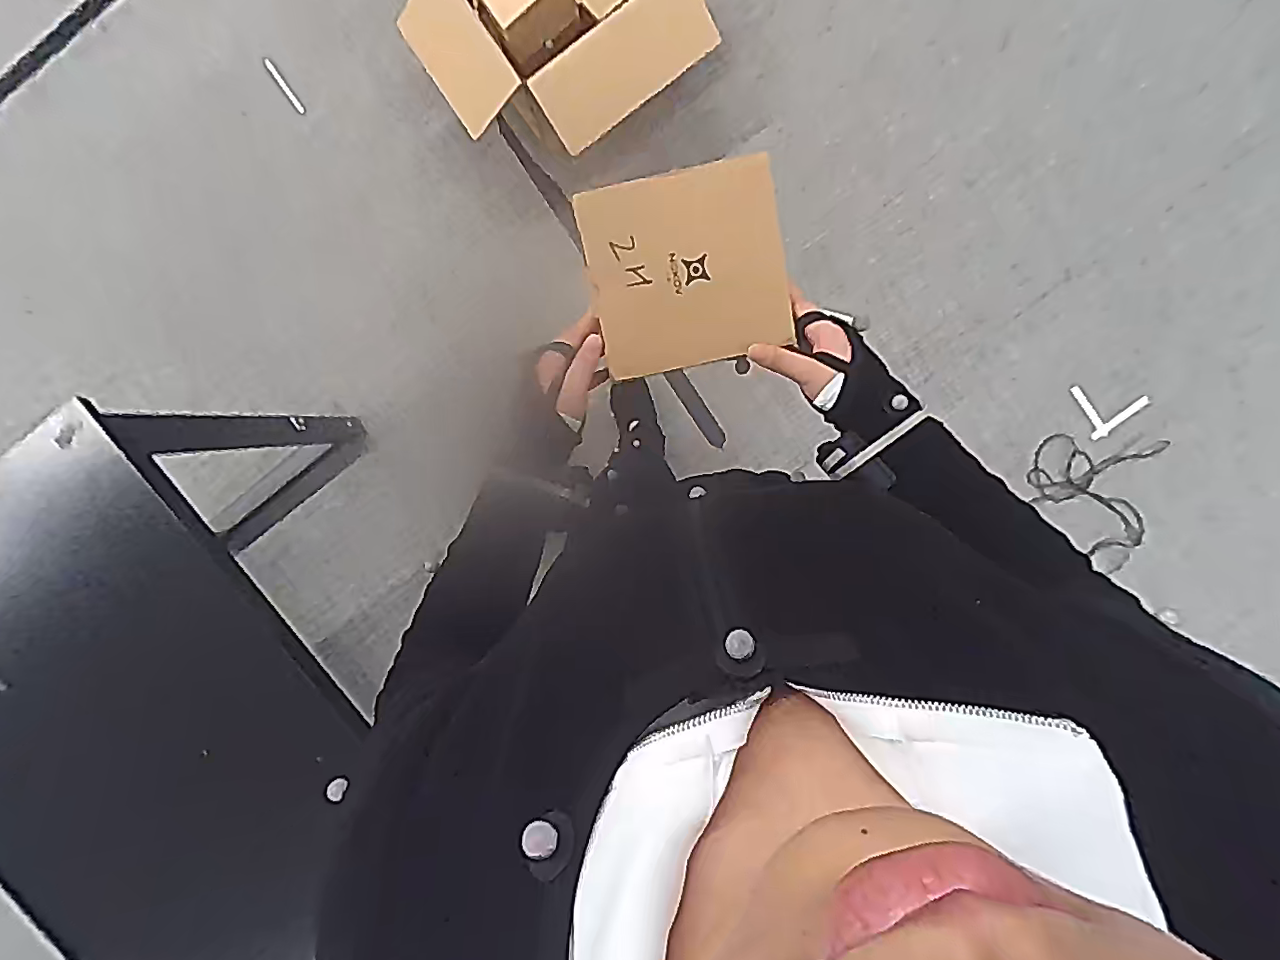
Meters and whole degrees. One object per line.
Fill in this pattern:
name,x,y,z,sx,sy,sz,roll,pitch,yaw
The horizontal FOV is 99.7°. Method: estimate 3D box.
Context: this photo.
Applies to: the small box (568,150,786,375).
small box,0.035,-0.208,0.562,0.179,0.176,0.168,-11,100,3
